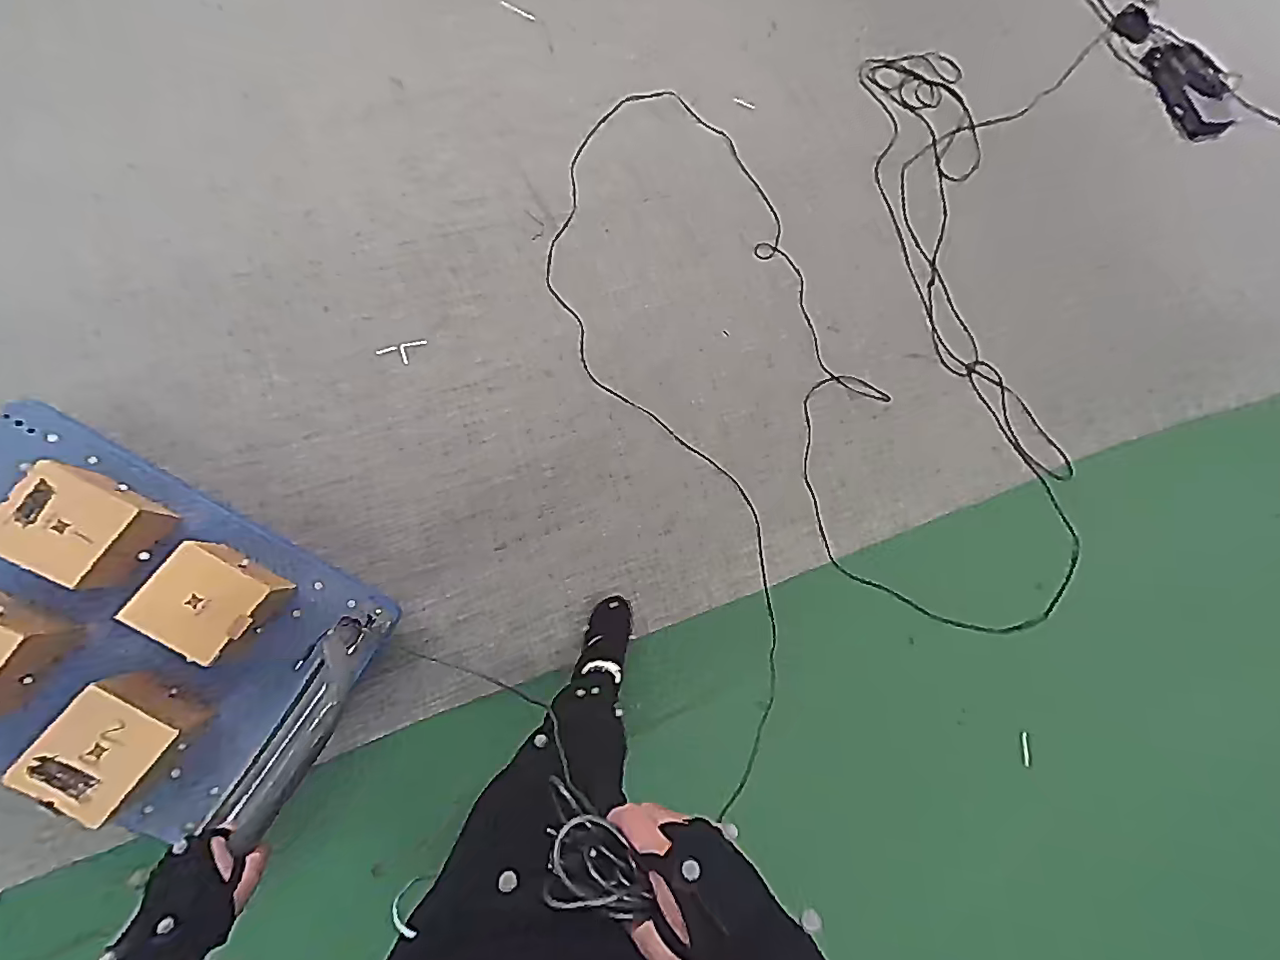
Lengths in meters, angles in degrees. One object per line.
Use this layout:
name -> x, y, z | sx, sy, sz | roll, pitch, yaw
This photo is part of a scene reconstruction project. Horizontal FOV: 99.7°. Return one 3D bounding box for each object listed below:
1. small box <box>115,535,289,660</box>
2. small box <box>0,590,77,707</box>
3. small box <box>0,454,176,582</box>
small box -> -0.835, 0.227, 1.056 | 0.179, 0.176, 0.168 | 36, 71, -12
small box -> -1.157, 0.292, 0.930 | 0.179, 0.176, 0.168 | 31, 72, -12
small box -> -1.039, 0.078, 1.007 | 0.179, 0.176, 0.168 | 33, 73, -12
